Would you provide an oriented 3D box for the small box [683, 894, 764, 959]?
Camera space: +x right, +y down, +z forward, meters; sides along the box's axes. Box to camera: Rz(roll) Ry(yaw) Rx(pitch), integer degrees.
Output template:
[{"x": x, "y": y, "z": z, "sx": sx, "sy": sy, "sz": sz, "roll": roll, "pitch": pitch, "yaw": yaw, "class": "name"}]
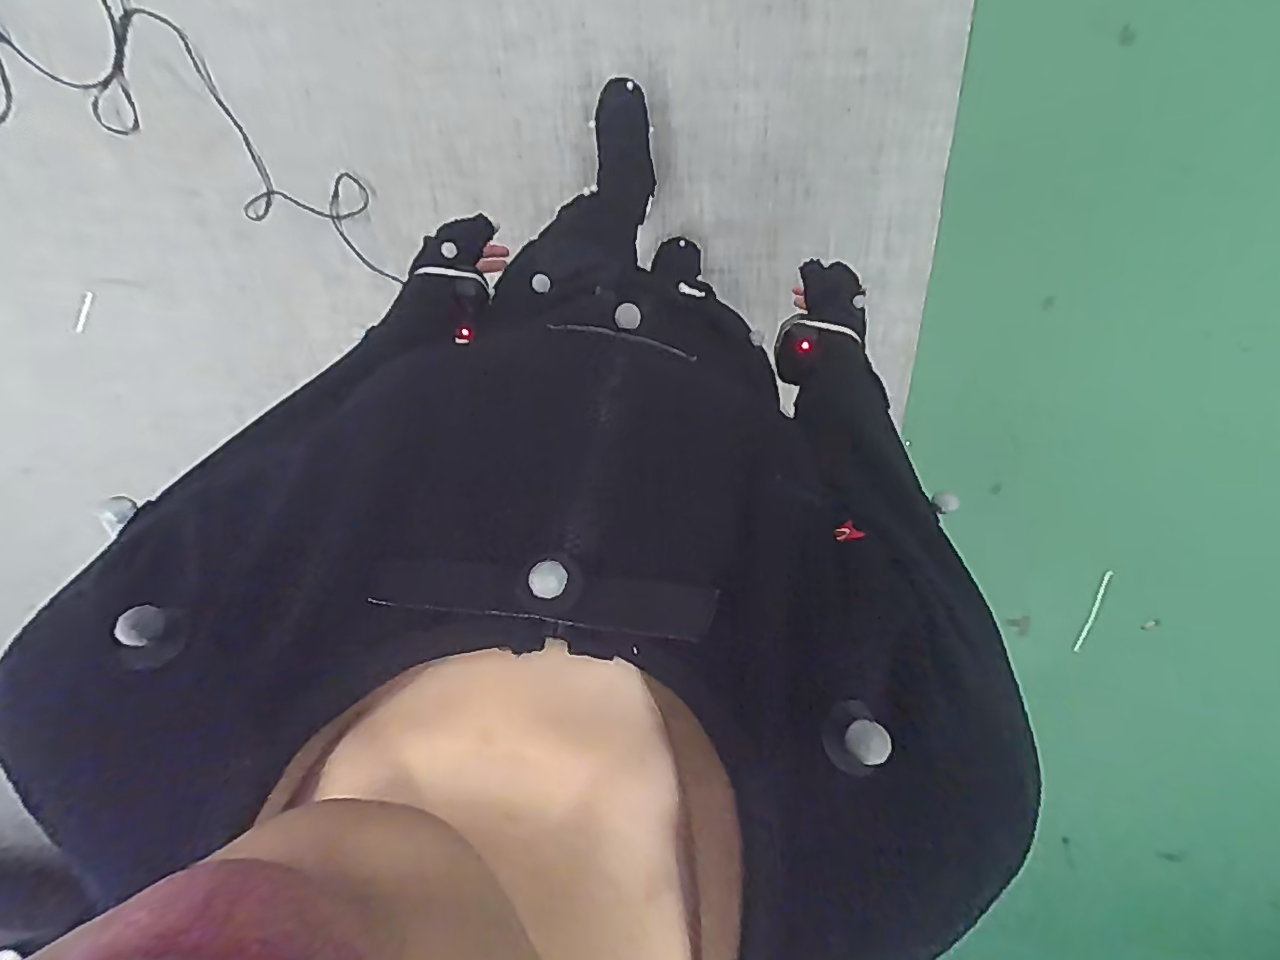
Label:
[{"x": 0.179, "y": 1.032, "z": 1.159, "sx": 0.168, "sy": 0.176, "sz": 0.179, "roll": -3, "pitch": 116, "yaw": 7, "class": "small box"}]
